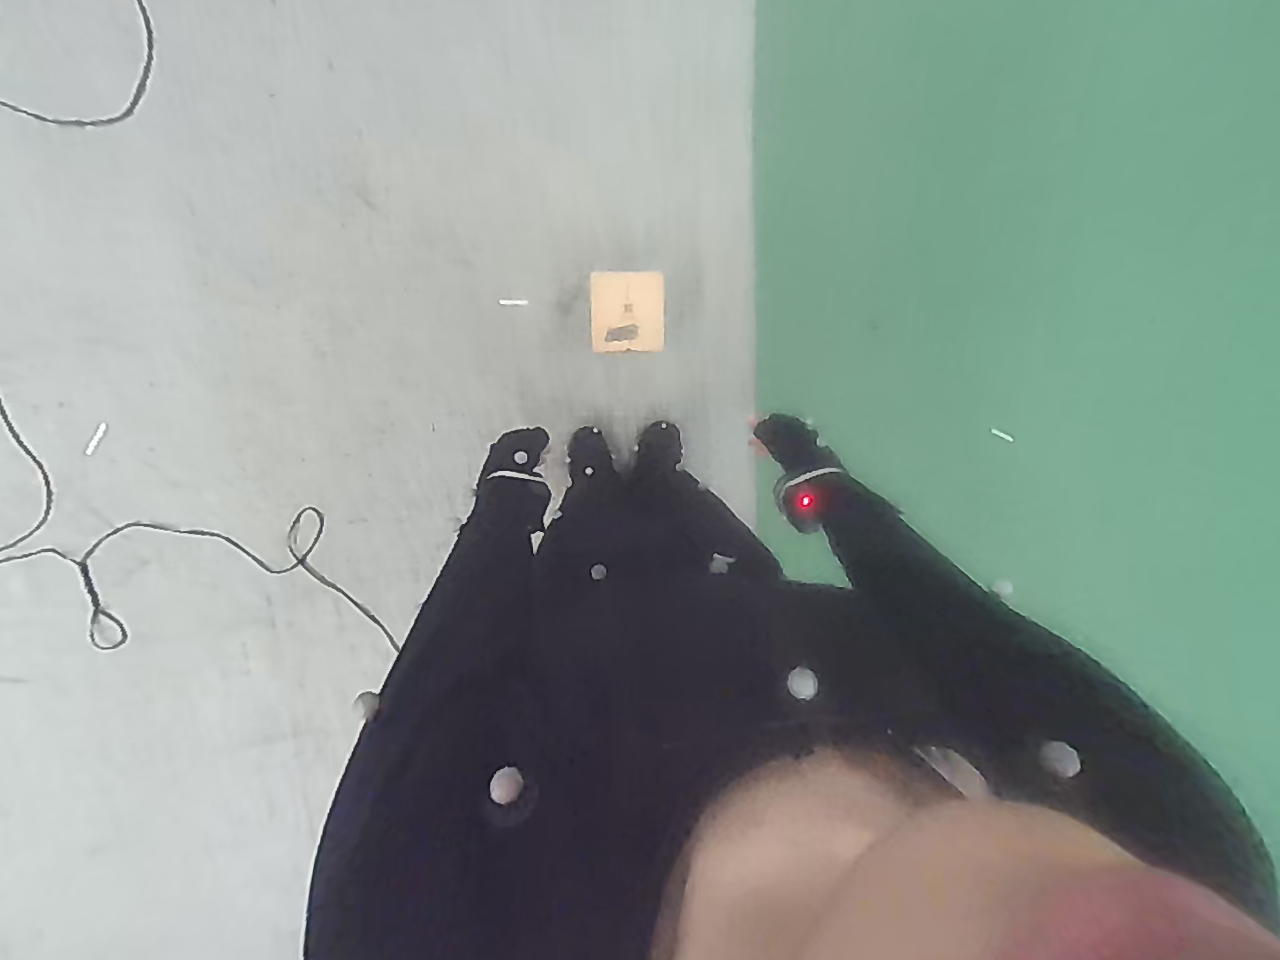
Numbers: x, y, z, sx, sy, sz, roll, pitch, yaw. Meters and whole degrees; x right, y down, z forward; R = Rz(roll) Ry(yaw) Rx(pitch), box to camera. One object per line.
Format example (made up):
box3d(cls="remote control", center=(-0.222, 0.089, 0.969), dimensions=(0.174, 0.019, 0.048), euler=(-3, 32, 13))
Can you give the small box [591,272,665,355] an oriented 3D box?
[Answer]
box3d(cls="small box", center=(-0.031, -0.388, 1.283), dimensions=(0.168, 0.176, 0.179), euler=(-1, 101, -4))
